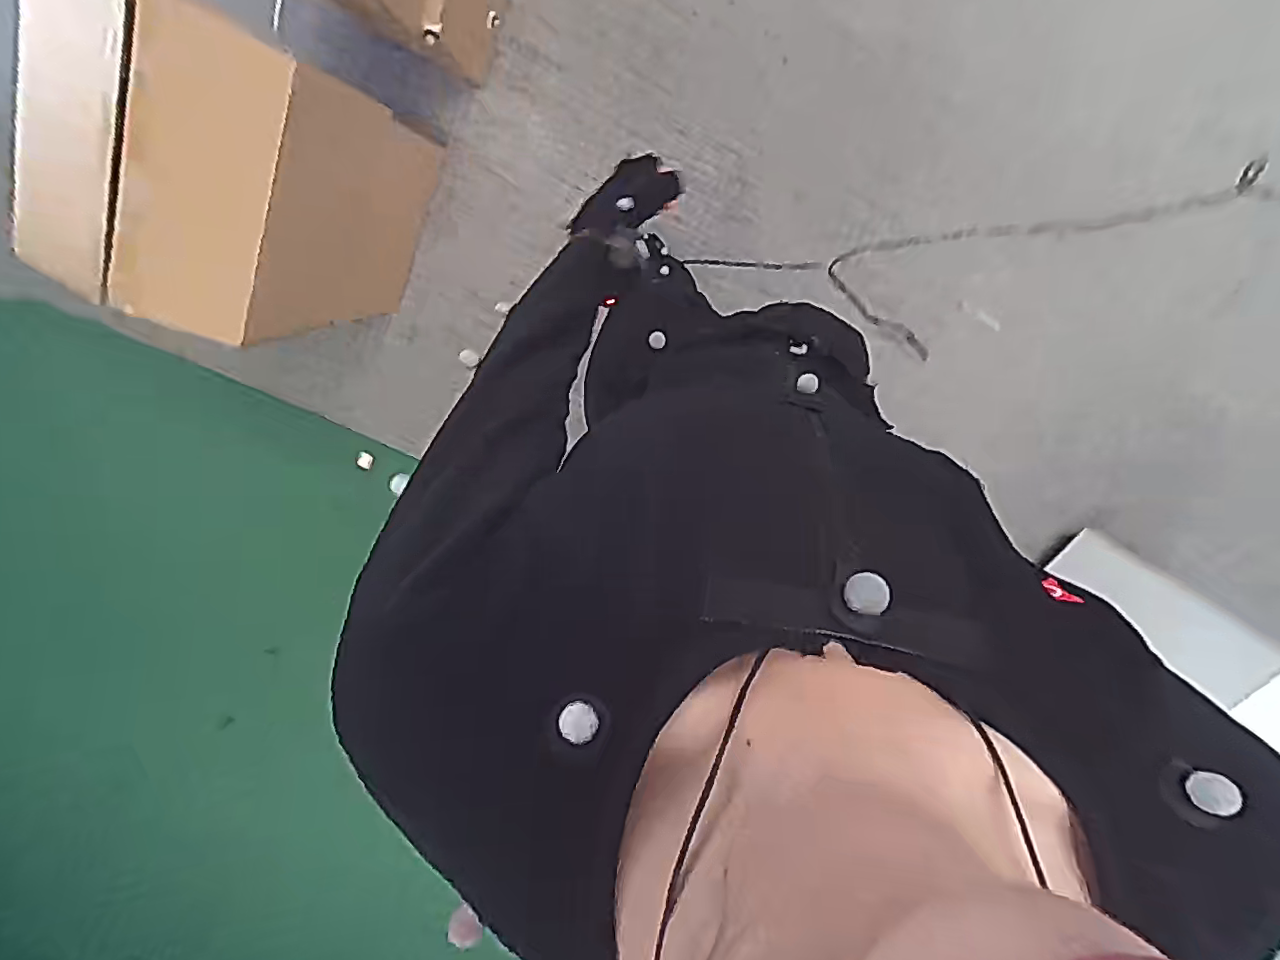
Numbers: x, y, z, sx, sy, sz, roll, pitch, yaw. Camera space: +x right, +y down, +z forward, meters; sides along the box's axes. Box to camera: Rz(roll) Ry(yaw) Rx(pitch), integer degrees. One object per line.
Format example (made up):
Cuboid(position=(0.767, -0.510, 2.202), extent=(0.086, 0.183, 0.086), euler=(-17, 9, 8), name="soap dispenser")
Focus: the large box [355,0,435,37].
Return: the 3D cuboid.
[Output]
Cuboid(position=(-0.407, -0.913, 0.688), extent=(0.320, 0.320, 0.408), euler=(24, 111, -13), name="large box")
